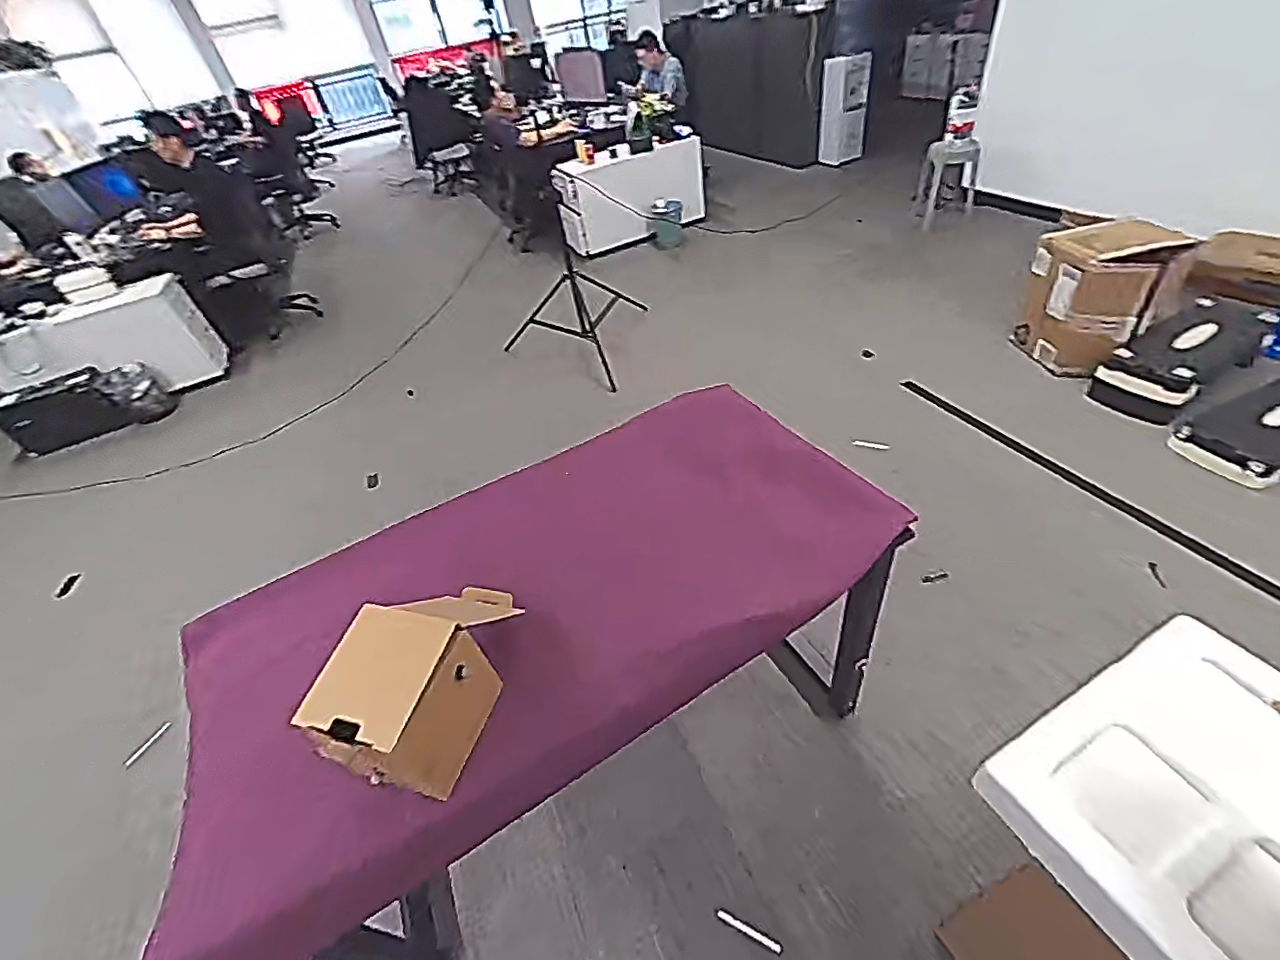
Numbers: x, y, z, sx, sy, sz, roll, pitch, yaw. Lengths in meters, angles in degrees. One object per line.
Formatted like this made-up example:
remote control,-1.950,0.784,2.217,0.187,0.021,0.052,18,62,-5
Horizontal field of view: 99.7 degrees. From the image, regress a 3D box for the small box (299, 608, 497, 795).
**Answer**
small box,-0.329,0.316,0.781,0.168,0.176,0.179,5,44,20
